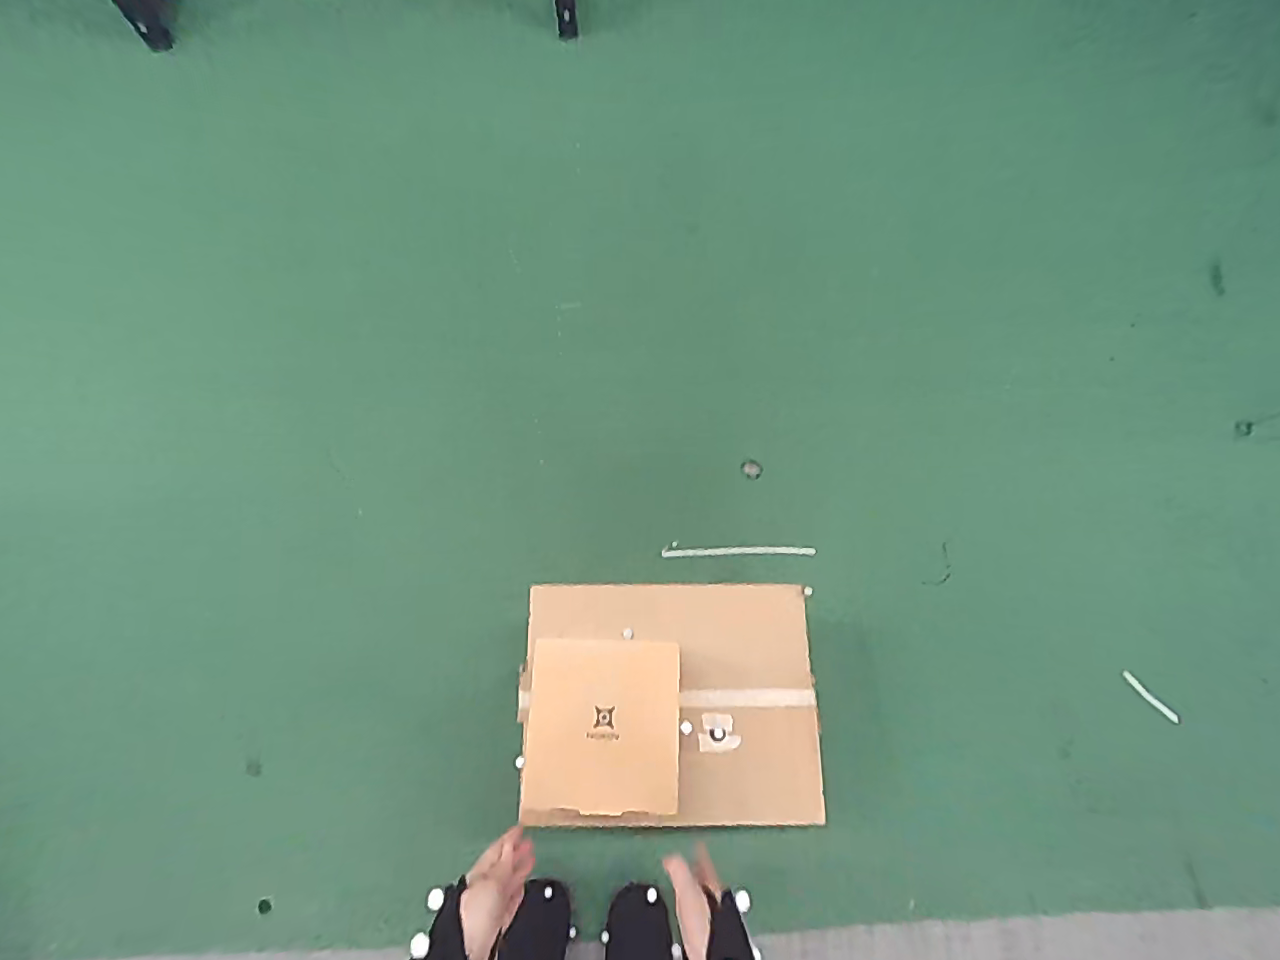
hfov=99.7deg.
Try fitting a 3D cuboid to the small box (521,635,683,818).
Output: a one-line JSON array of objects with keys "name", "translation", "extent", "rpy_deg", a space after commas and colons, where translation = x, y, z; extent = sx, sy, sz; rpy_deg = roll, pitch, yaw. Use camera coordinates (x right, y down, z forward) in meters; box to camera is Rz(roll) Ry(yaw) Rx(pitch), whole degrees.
[{"name": "small box", "translation": [-0.039, 0.283, 0.651], "extent": [0.168, 0.176, 0.179], "rpy_deg": [2, 73, 0]}]

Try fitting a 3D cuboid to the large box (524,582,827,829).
[{"name": "large box", "translation": [0.040, 0.346, 0.887], "extent": [0.408, 0.320, 0.320], "rpy_deg": [0, 73, -1]}]
